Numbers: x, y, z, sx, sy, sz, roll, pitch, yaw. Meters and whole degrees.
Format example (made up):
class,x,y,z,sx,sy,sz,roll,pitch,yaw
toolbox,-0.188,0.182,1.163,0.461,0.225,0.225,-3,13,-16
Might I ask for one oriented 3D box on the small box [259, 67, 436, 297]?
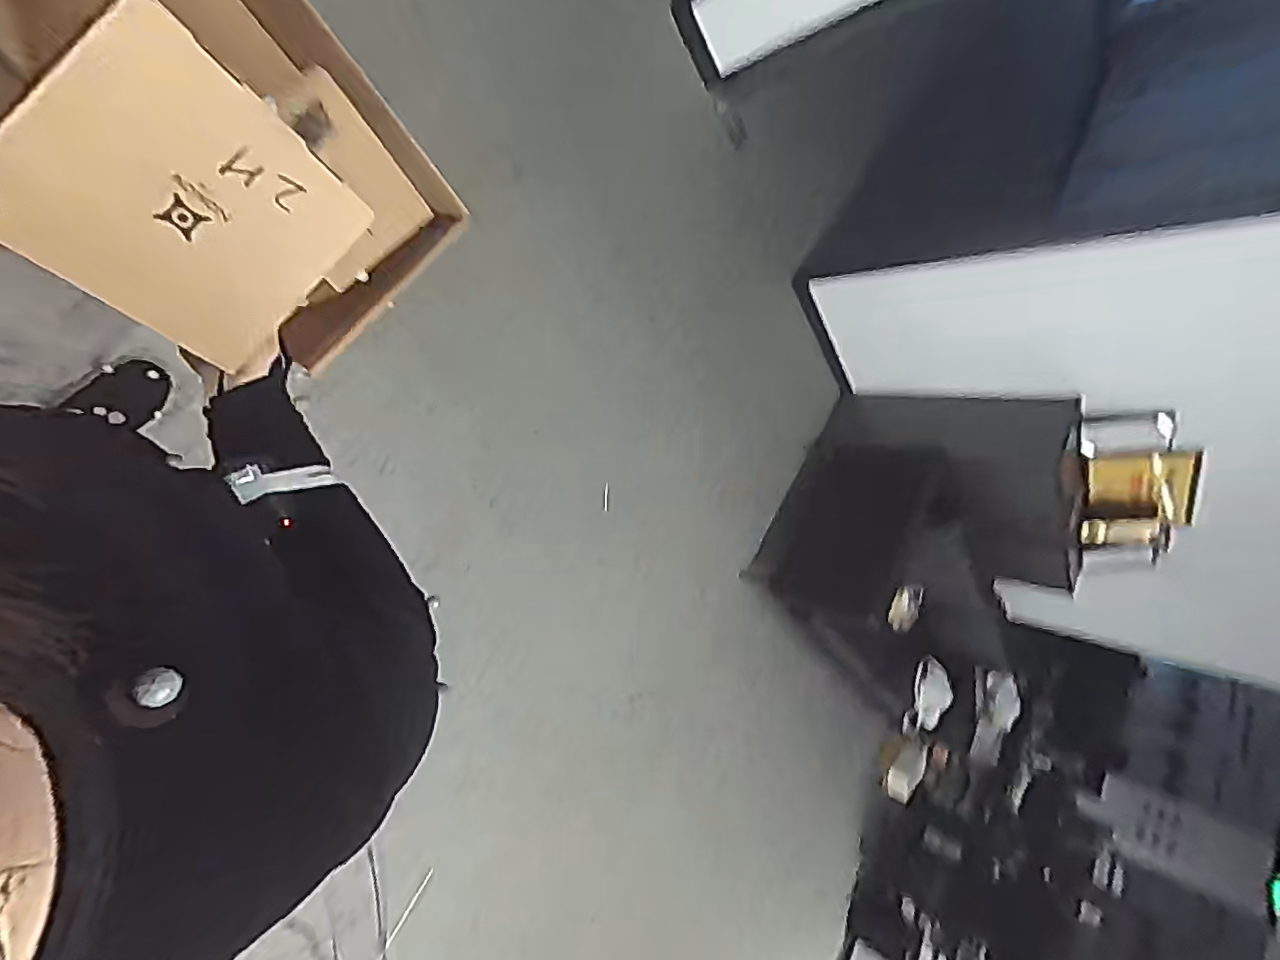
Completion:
class,x,y,z,sx,sy,sz,roll,pitch,yaw
small box,-0.400,-0.348,0.665,0.168,0.176,0.179,-54,130,-22

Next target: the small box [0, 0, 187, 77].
class,x,y,z,sx,sy,sz,roll,pitch,yaw
small box,-0.665,-0.557,0.604,0.168,0.176,0.179,-54,131,-20

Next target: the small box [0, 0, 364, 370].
class,x,y,z,sx,sy,sz,roll,pitch,yaw
small box,-0.355,-0.222,0.416,0.179,0.176,0.168,-50,139,-2
